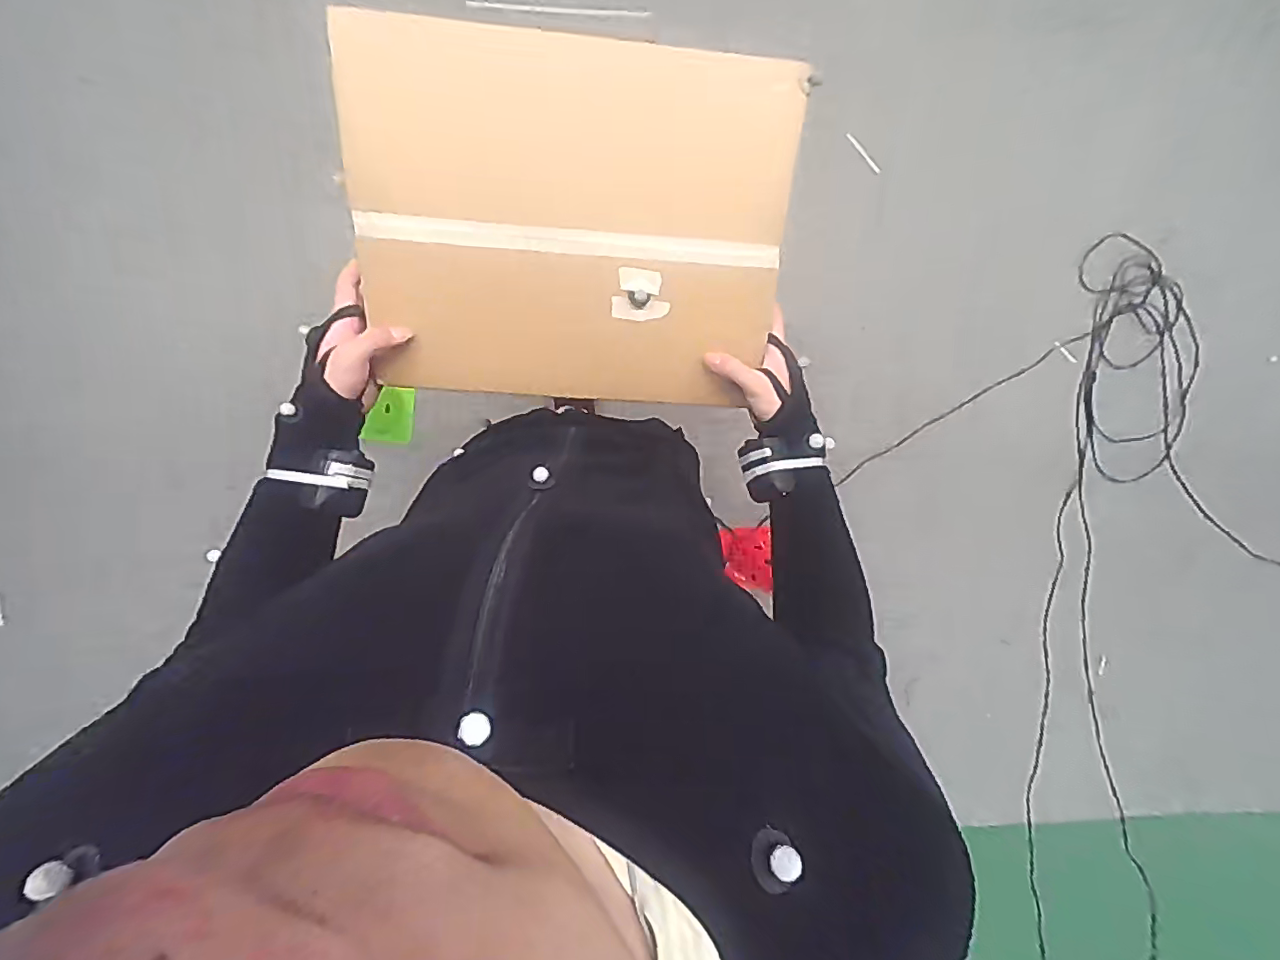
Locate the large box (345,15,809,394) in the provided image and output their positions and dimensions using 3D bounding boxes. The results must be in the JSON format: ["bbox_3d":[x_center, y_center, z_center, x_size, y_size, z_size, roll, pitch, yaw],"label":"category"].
[{"bbox_3d":[-0.068,-0.301,0.657,0.408,0.320,0.320,2,116,-6],"label":"large box"}]

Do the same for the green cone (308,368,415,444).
[{"bbox_3d":[-0.731,-0.178,1.365,0.200,0.368,0.202,6,100,-6],"label":"green cone"}]
